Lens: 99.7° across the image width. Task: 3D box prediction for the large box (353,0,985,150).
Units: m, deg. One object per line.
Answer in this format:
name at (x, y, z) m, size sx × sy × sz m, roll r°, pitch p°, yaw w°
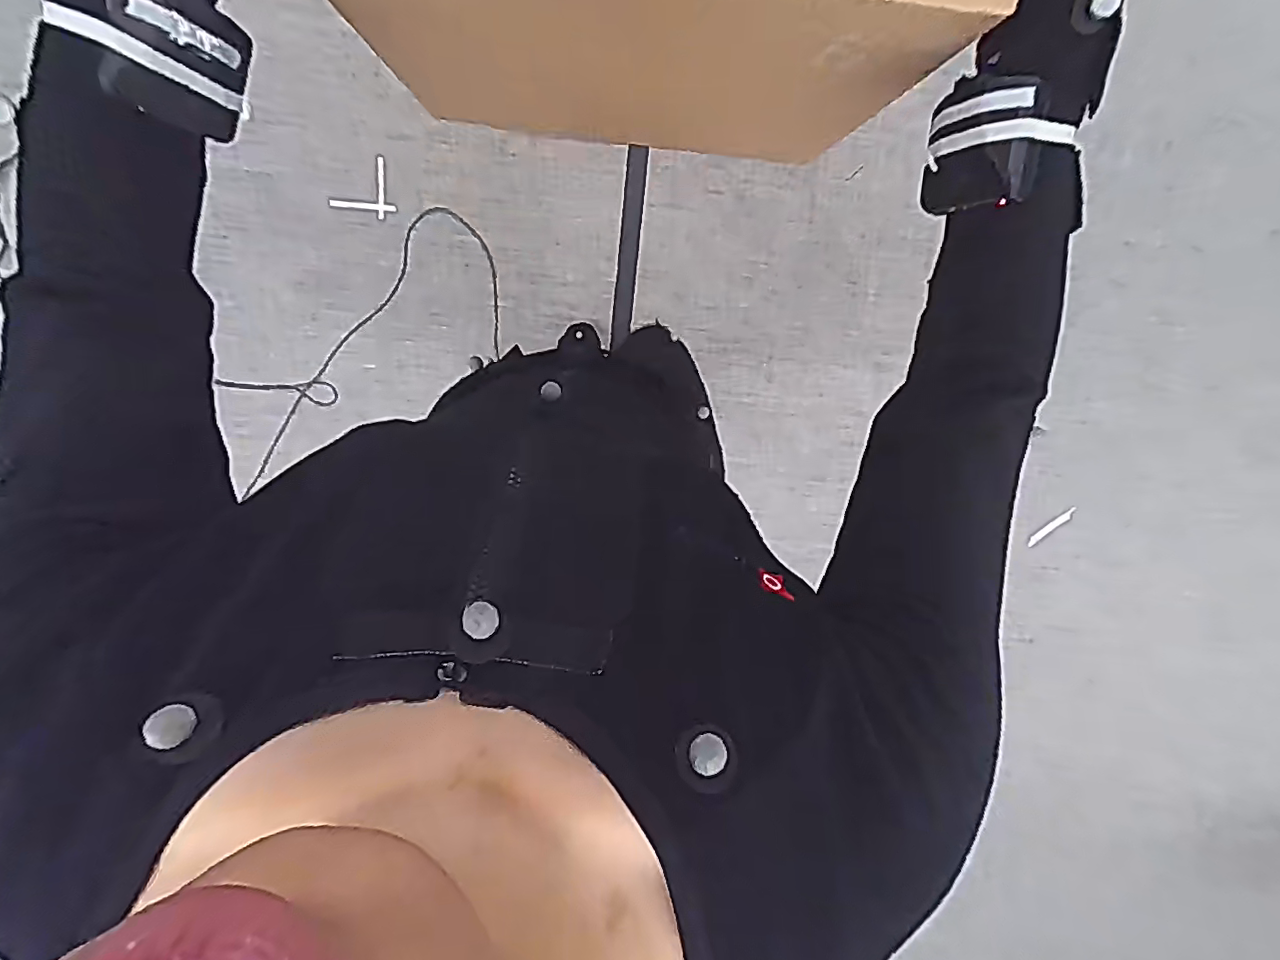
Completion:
large box at (0.007, -0.470, 0.390) m, size 0.408 × 0.320 × 0.320 m, roll 3°, pitch 107°, yaw -5°
